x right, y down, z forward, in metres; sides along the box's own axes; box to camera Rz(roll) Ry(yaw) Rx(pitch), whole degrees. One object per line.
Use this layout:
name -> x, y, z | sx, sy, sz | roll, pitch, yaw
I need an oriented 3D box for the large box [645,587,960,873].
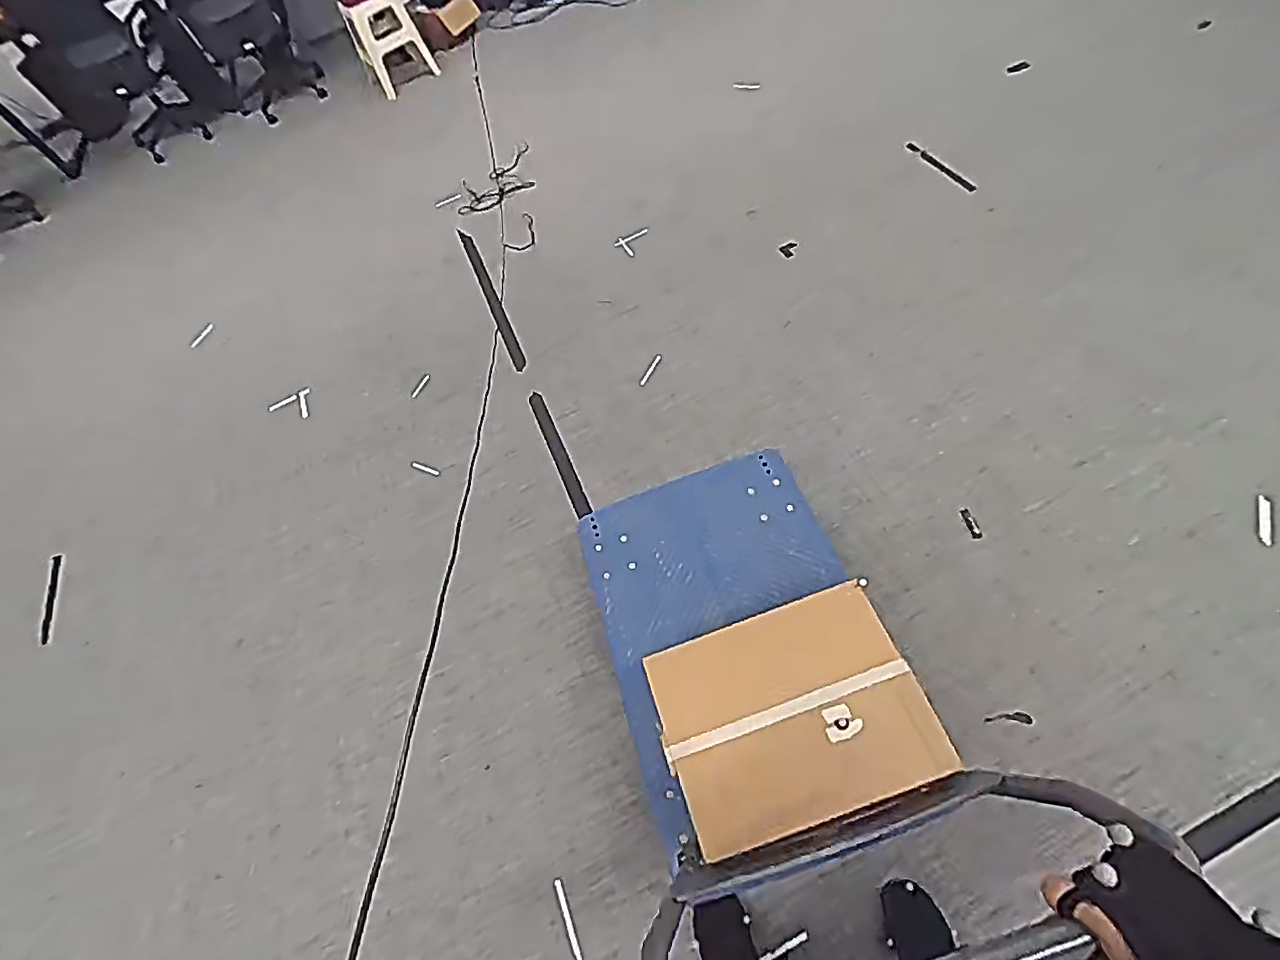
large box -> 0.262, 0.452, 0.985 | 0.408, 0.320, 0.320 | -21, 58, -1
